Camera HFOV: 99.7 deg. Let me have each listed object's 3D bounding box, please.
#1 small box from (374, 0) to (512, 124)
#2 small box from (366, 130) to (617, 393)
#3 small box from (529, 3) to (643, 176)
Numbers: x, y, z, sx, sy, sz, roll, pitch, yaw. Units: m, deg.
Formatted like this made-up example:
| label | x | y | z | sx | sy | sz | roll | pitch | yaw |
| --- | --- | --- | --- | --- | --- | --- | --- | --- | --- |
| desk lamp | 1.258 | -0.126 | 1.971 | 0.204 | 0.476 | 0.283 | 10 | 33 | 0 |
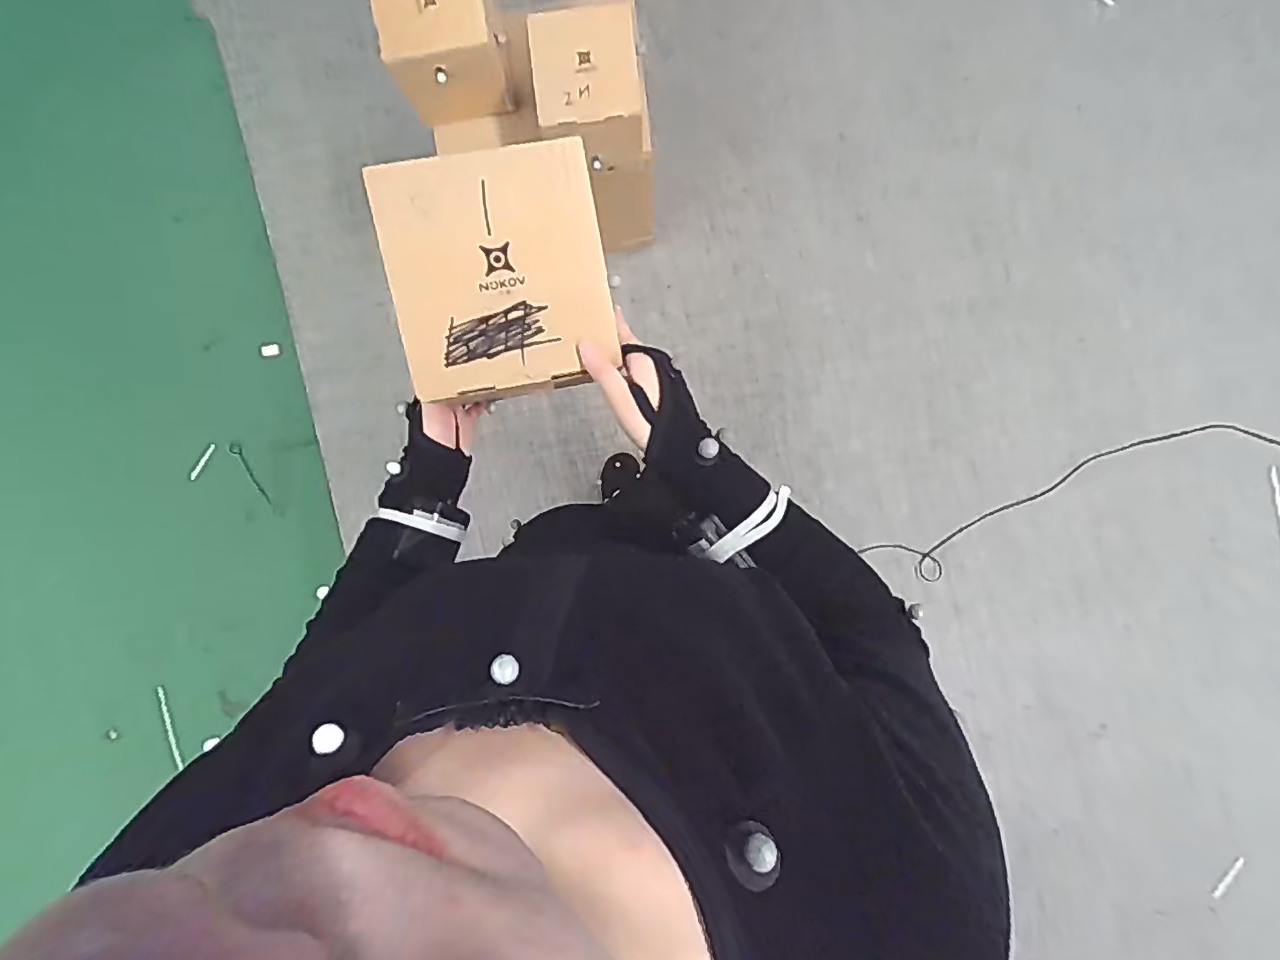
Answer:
| label | x | y | z | sx | sy | sz | roll | pitch | yaw |
| --- | --- | --- | --- | --- | --- | --- | --- | --- | --- |
| small box | -0.328 | -0.752 | 0.927 | 0.179 | 0.176 | 0.168 | -8 | 92 | 3 |
| small box | -0.117 | -0.177 | 0.495 | 0.168 | 0.176 | 0.179 | -11 | 97 | -4 |
| small box | -0.085 | -0.651 | 0.924 | 0.168 | 0.176 | 0.179 | -6 | 92 | 2 |
